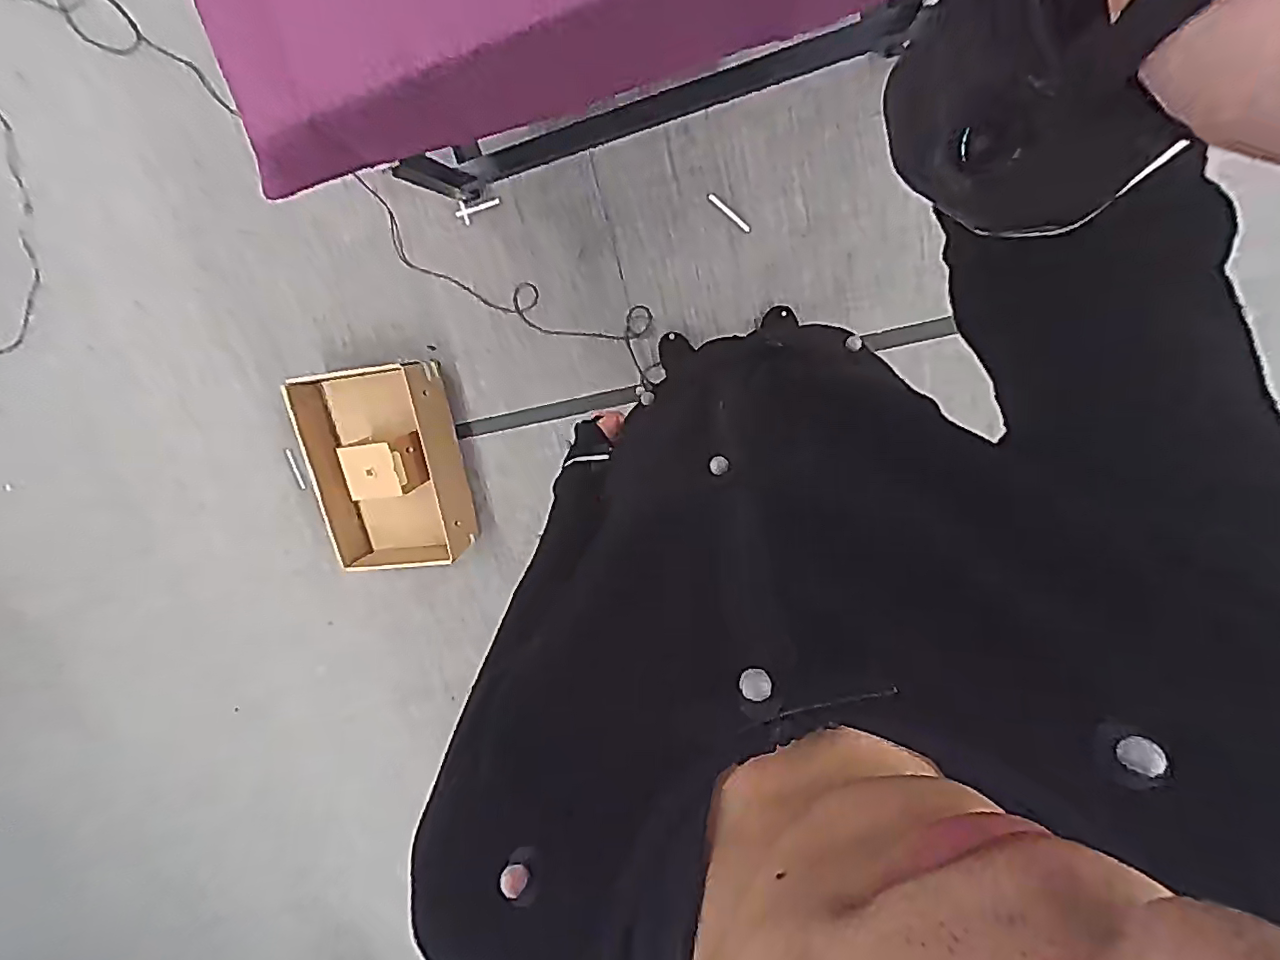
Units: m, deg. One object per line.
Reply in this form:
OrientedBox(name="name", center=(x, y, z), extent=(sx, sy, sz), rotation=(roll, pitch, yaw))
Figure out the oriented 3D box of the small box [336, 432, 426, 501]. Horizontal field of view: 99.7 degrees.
OrientedBox(name="small box", center=(-0.778, -0.045, 1.653), extent=(0.179, 0.176, 0.168), rotation=(-5, 106, 10))
